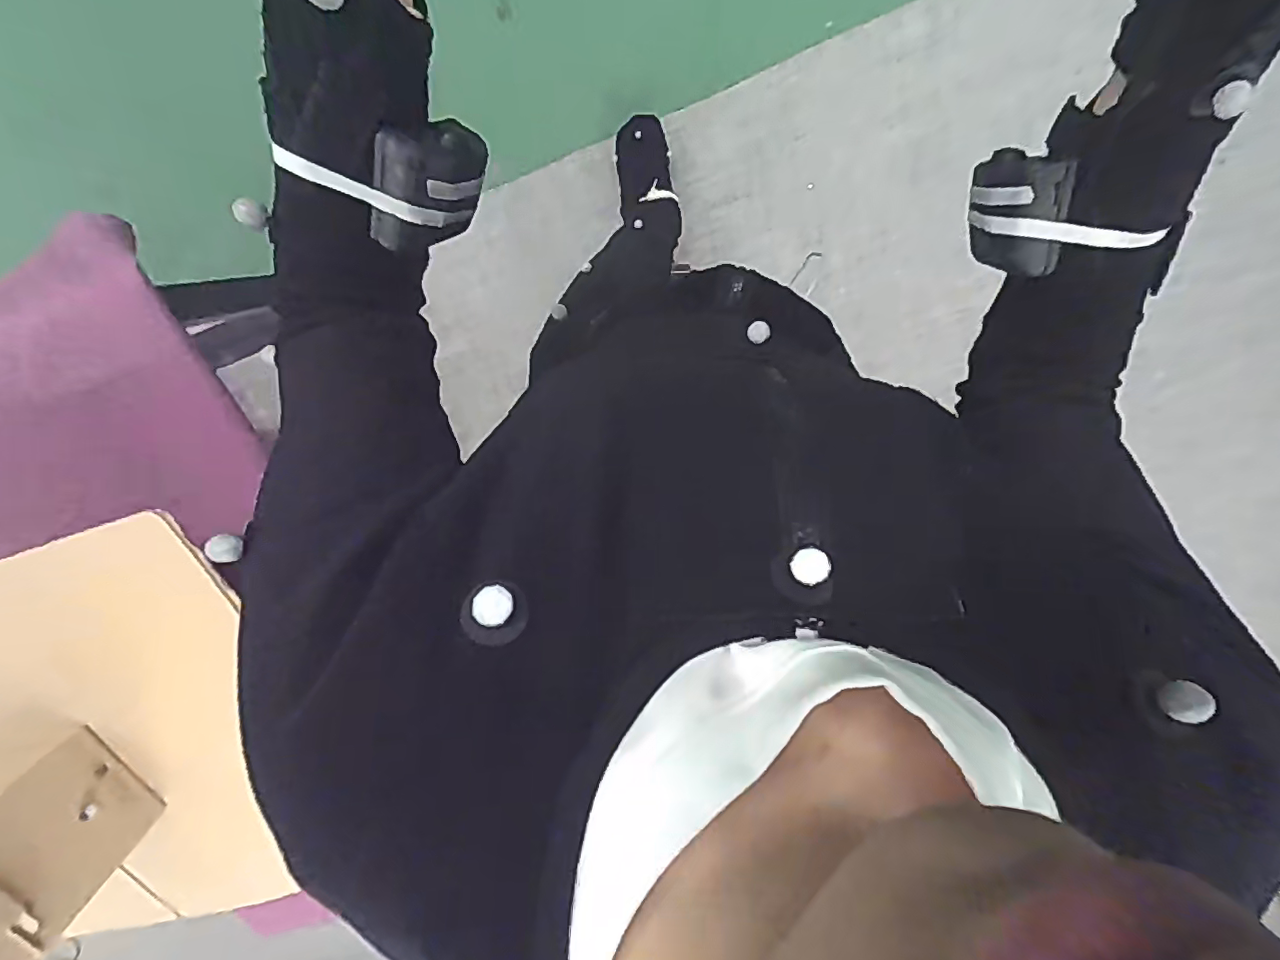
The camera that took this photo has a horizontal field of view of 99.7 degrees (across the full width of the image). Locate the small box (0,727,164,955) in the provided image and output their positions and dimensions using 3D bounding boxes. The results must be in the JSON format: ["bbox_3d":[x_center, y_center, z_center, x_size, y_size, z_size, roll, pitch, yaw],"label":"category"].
[{"bbox_3d":[-0.740,0.427,0.639,0.179,0.176,0.168,-16,113,8],"label":"small box"}]
